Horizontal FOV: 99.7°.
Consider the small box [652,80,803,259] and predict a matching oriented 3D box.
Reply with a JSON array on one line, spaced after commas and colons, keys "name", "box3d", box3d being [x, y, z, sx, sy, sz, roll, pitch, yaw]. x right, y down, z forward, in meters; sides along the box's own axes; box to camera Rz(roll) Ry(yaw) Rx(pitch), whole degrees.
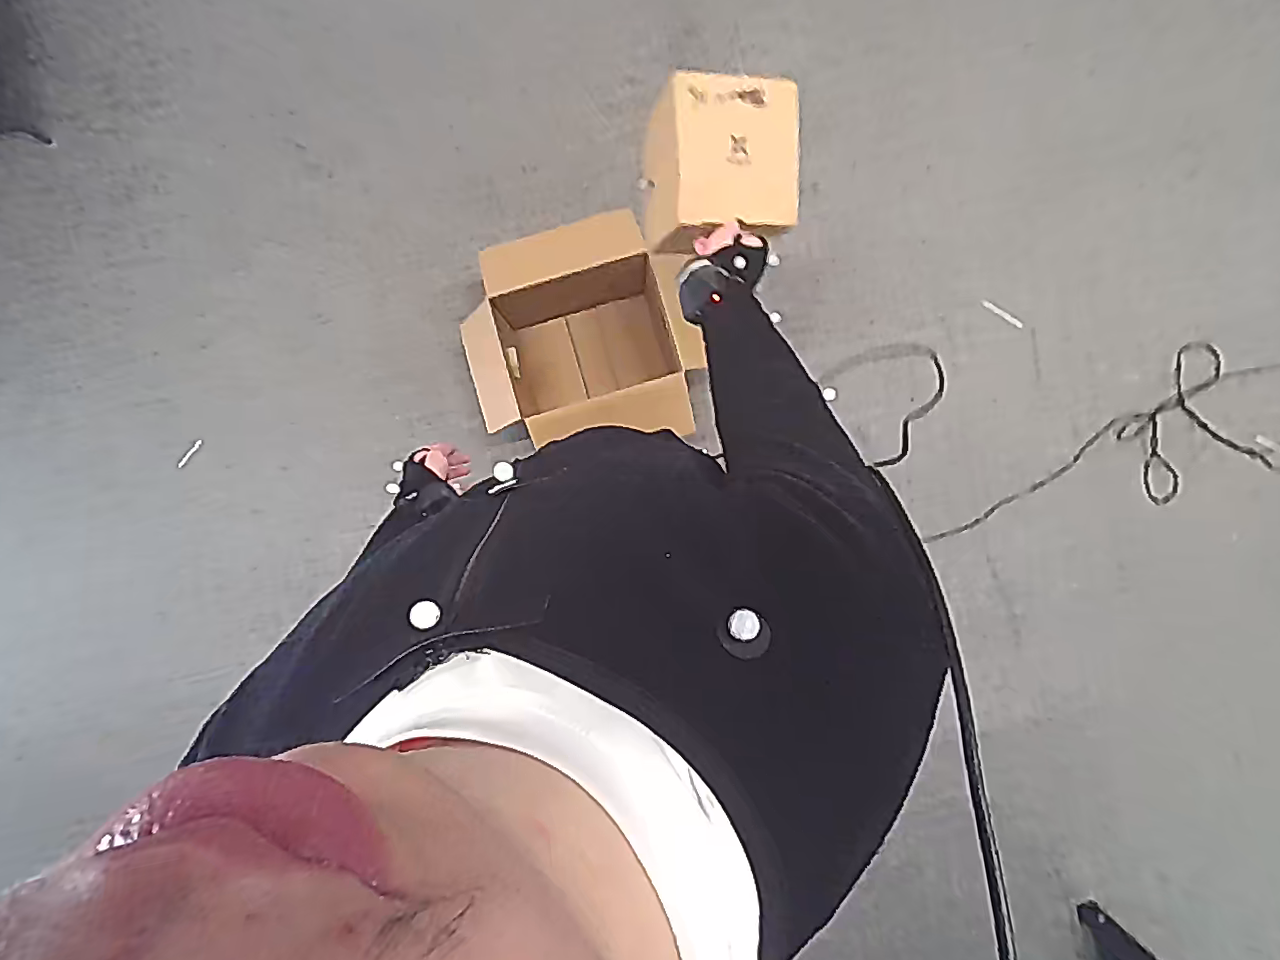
[{"name": "small box", "box3d": [0.115, -0.424, 0.772, 0.168, 0.176, 0.179, -3, 100, -12]}]
